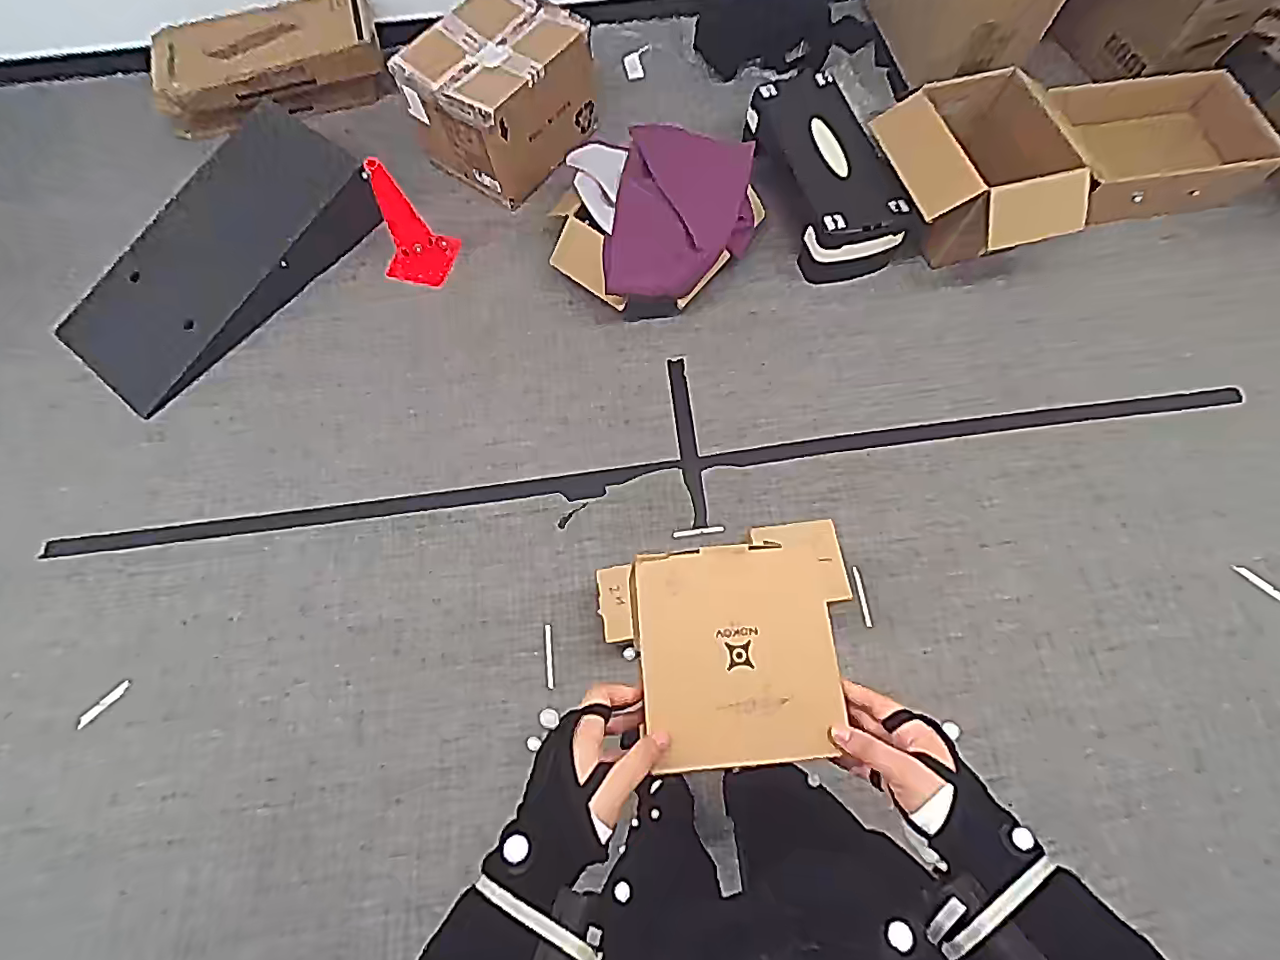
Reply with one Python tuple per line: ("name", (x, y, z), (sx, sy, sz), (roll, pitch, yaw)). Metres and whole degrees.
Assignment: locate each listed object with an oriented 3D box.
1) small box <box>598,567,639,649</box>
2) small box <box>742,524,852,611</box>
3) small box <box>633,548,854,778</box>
("small box", (0.000, 0.304, 1.290), (0.179, 0.176, 0.168), (-10, 70, -2))
("small box", (0.319, 0.203, 1.150), (0.179, 0.176, 0.168), (-6, 70, -2))
("small box", (0.081, 0.173, 0.530), (0.168, 0.176, 0.179), (-4, 72, -3))
